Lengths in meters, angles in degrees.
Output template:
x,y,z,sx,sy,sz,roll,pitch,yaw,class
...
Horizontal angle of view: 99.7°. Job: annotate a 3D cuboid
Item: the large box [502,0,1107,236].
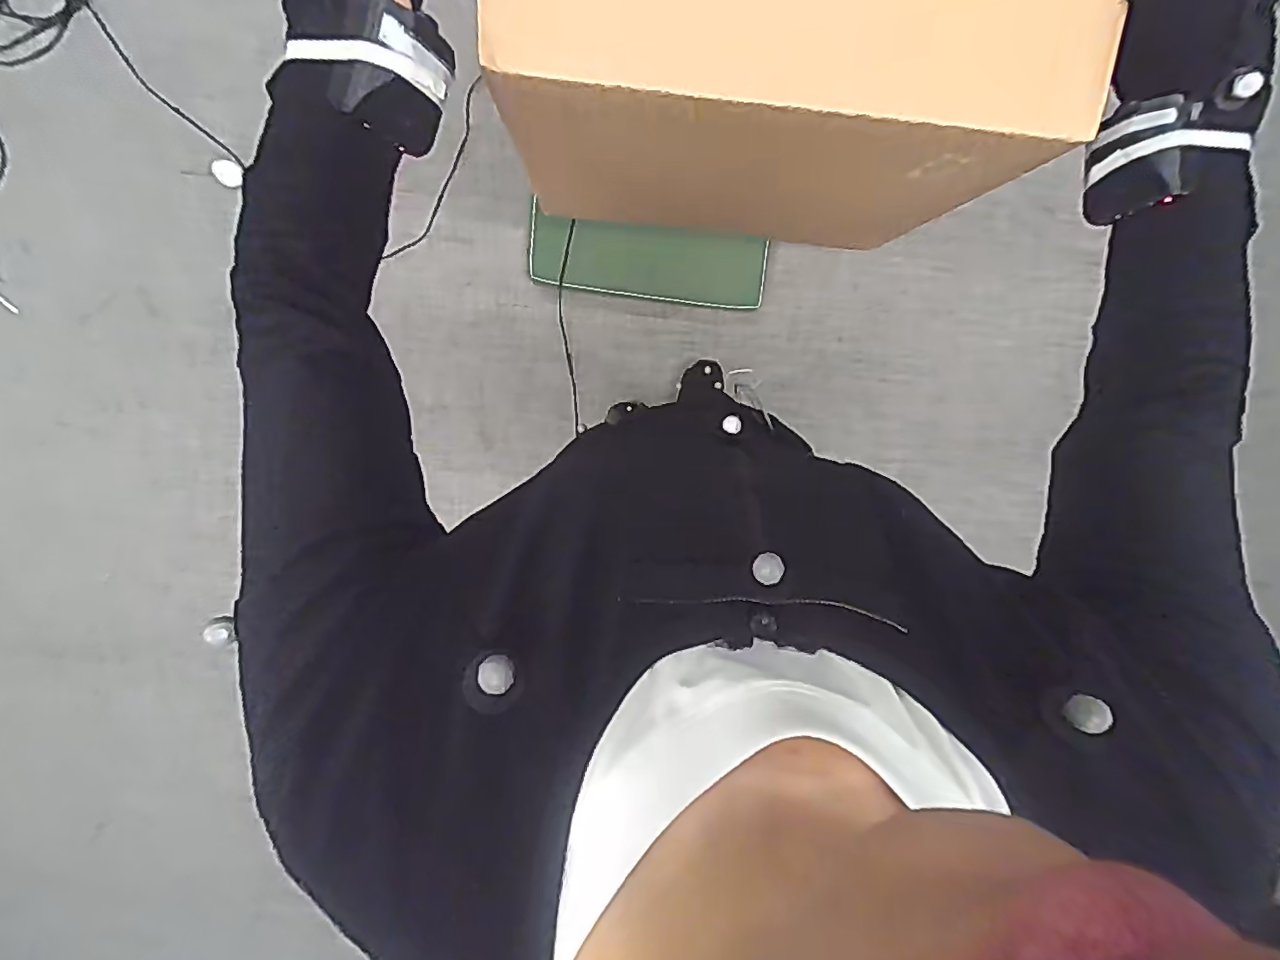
x,y,z,sx,sy,sz,roll,pitch,yaw,class
0.106,-0.429,0.478,0.408,0.320,0.320,4,101,-5,large box
